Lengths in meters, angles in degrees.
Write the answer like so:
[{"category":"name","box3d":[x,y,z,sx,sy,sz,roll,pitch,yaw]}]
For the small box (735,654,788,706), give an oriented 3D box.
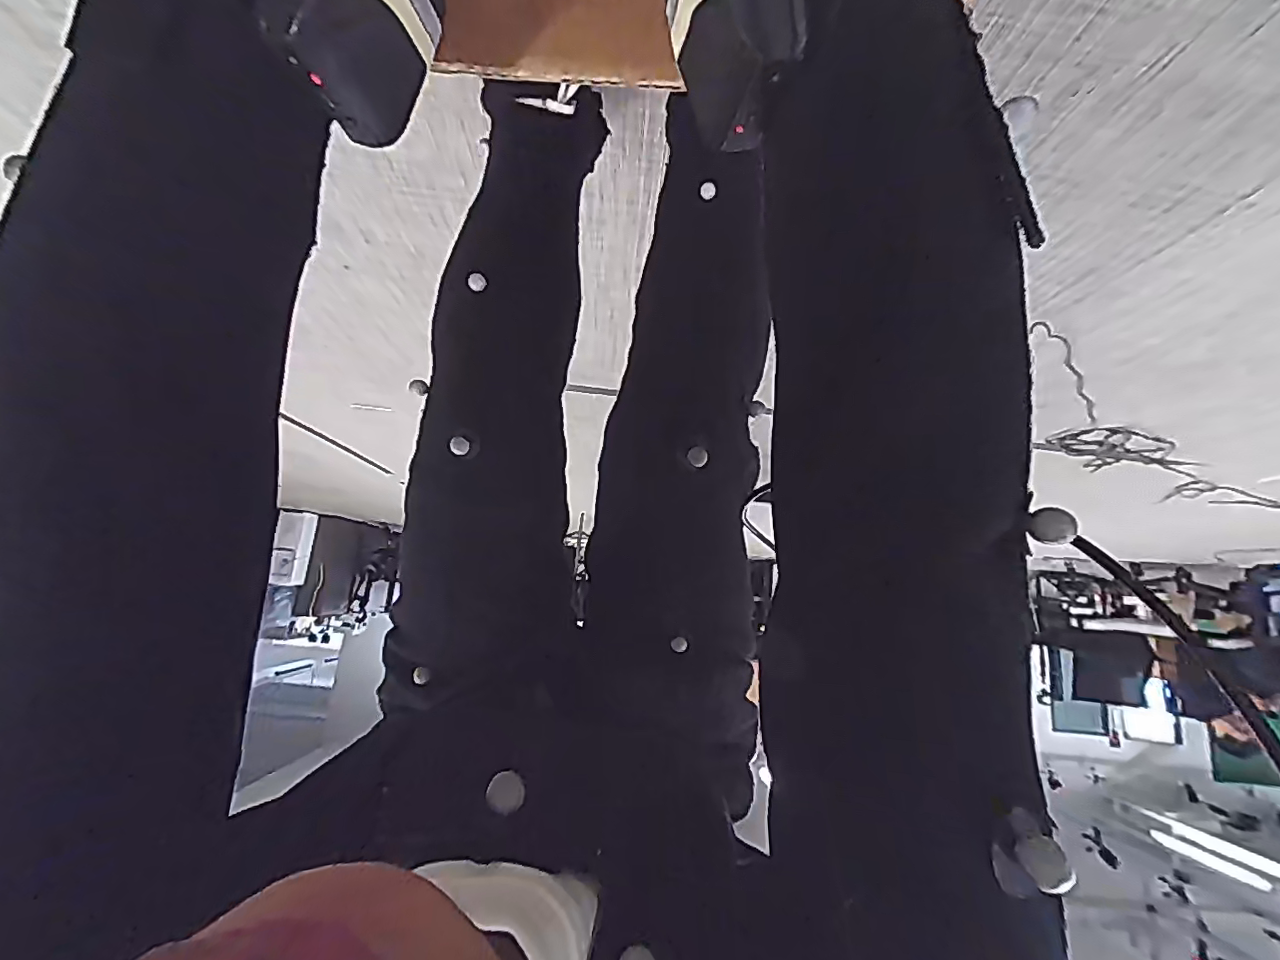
[{"category":"small box","box3d":[0.497,0.806,2.198,0.168,0.176,0.179,6,168,-6]}]
